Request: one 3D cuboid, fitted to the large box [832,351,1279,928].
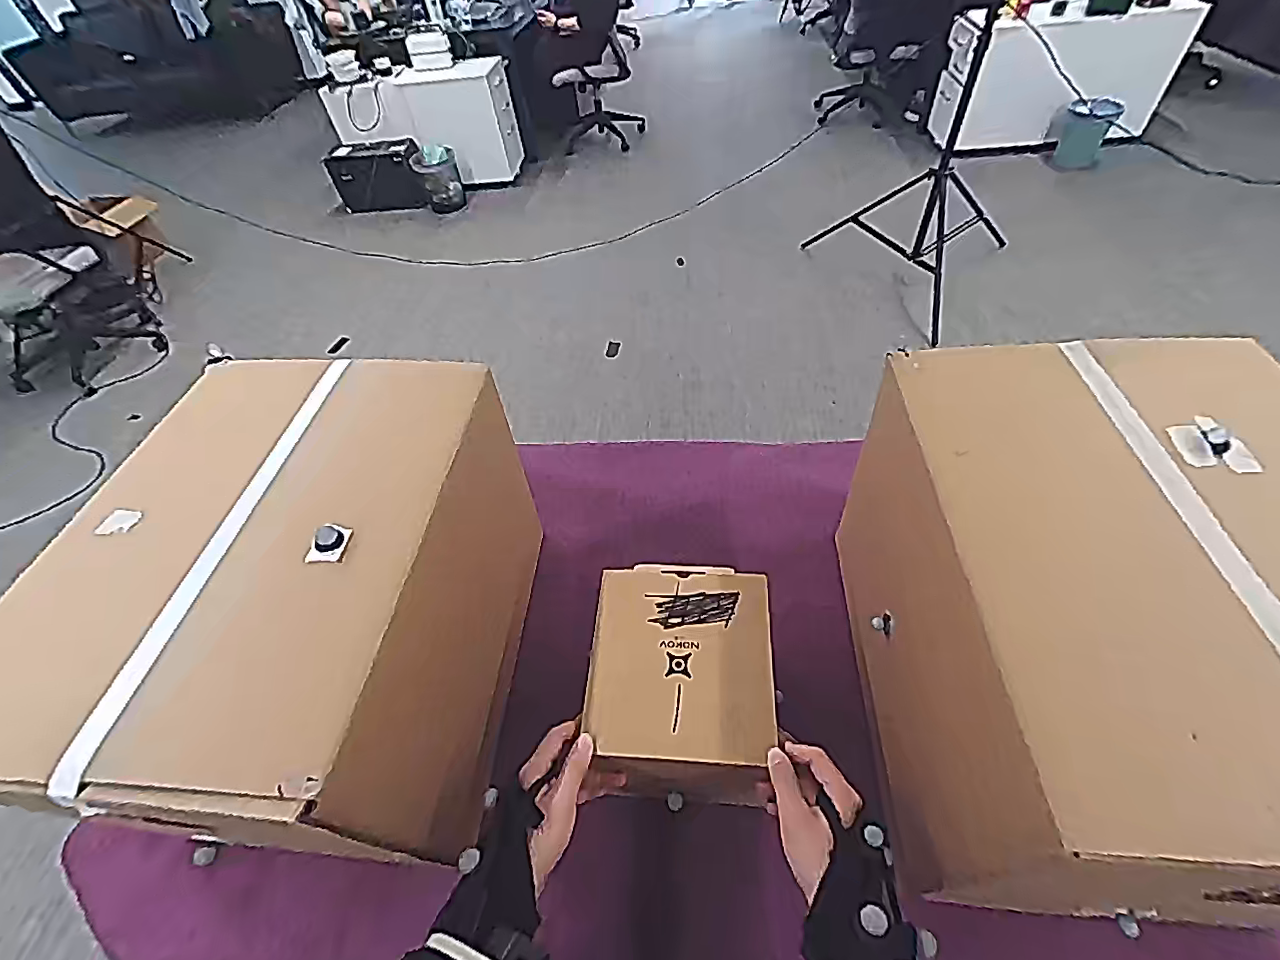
[{"bbox_3d":[0.384,0.134,0.488,0.320,0.320,0.408,-1,48,6],"label":"large box"}]
